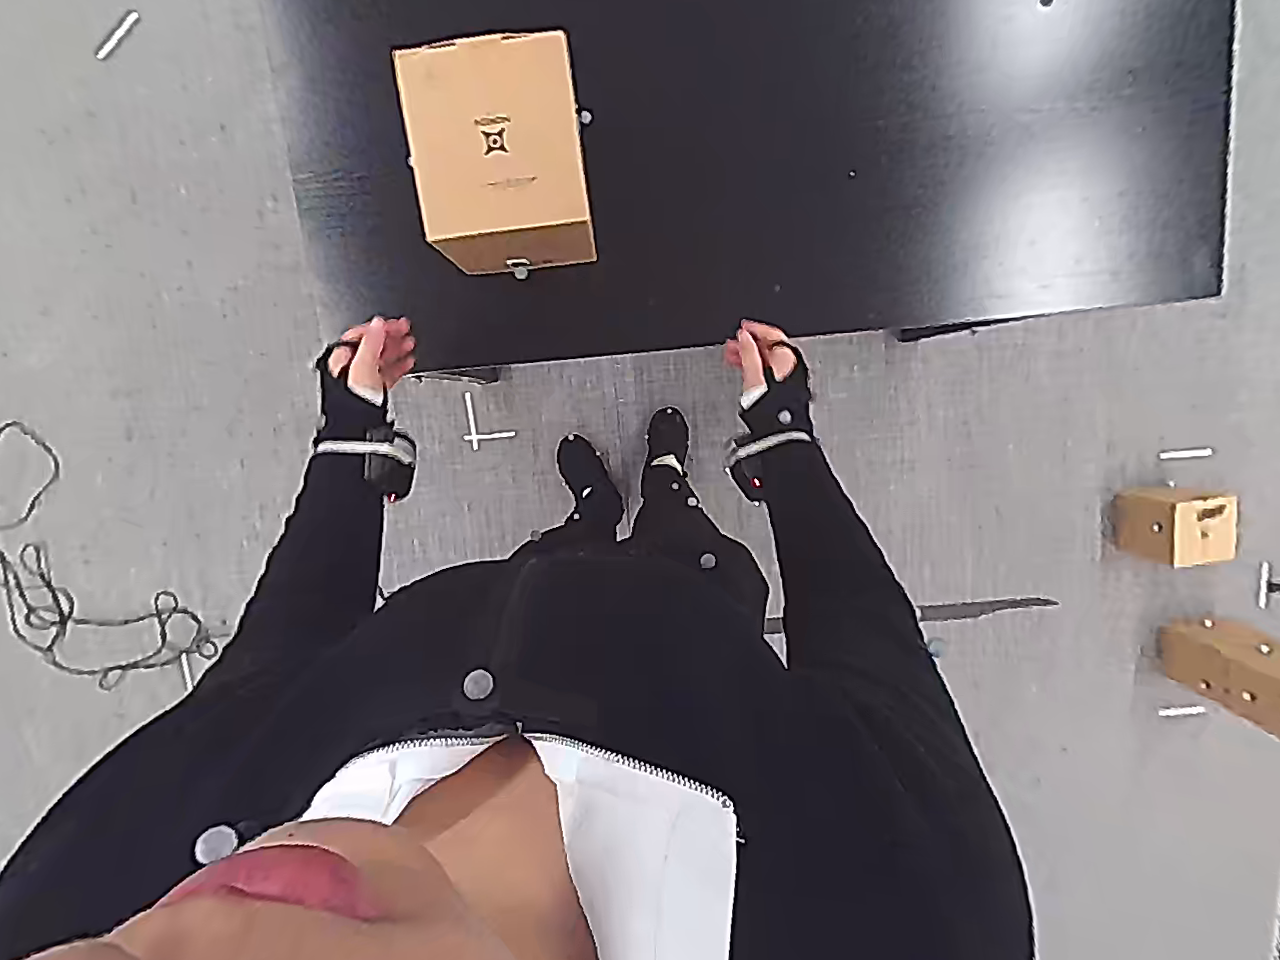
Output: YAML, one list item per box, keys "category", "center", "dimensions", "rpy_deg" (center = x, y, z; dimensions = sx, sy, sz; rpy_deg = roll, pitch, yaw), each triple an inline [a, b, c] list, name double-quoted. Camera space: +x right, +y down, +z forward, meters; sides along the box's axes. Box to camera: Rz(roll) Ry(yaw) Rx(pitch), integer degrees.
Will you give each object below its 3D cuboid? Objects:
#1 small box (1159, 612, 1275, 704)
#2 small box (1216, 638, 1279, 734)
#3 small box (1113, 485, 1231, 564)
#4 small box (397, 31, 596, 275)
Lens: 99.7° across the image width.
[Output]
- category: "small box"
  center: [1.644, 0.504, 1.549]
  dimensions: [0.168, 0.176, 0.179]
  rpy_deg: [-11, 99, -1]
- category: "small box"
  center: [1.642, 0.528, 1.387]
  dimensions: [0.179, 0.176, 0.168]
  rpy_deg: [-12, 99, 0]
- category: "small box"
  center: [1.446, 0.115, 1.479]
  dimensions: [0.168, 0.176, 0.179]
  rpy_deg: [-8, 99, -1]
- category: "small box"
  center: [-0.144, -0.347, 0.607]
  dimensions: [0.168, 0.176, 0.179]
  rpy_deg: [-8, 99, 0]
